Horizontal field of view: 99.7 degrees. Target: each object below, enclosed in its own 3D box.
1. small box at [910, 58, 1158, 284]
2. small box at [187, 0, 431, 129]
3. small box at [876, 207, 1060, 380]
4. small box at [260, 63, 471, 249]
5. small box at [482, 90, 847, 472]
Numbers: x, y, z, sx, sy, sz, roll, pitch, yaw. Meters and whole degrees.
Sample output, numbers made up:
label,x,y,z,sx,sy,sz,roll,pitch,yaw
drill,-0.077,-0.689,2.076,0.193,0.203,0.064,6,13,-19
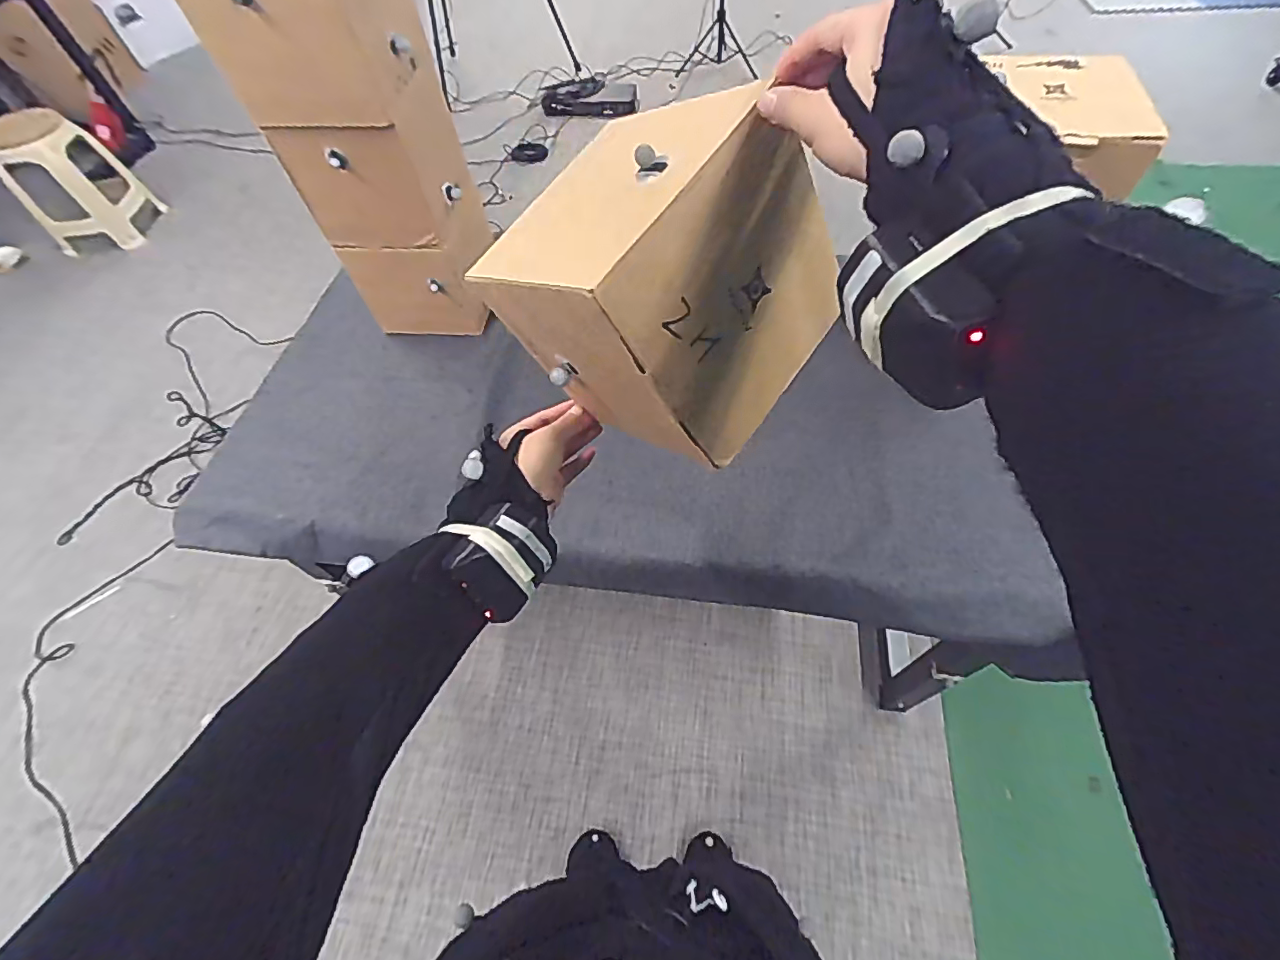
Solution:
label,x,y,z,sx,sy,sz,roll,pitch,yaw
small box,0.429,-0.351,0.627,0.168,0.176,0.179,8,60,9
small box,-0.365,-0.519,0.600,0.179,0.176,0.168,4,60,5
small box,0.445,-0.269,0.768,0.168,0.176,0.179,7,60,9
small box,-0.358,-0.441,0.745,0.179,0.176,0.168,3,60,4
small box,0.017,-0.140,0.401,0.179,0.168,0.176,-51,42,-11
